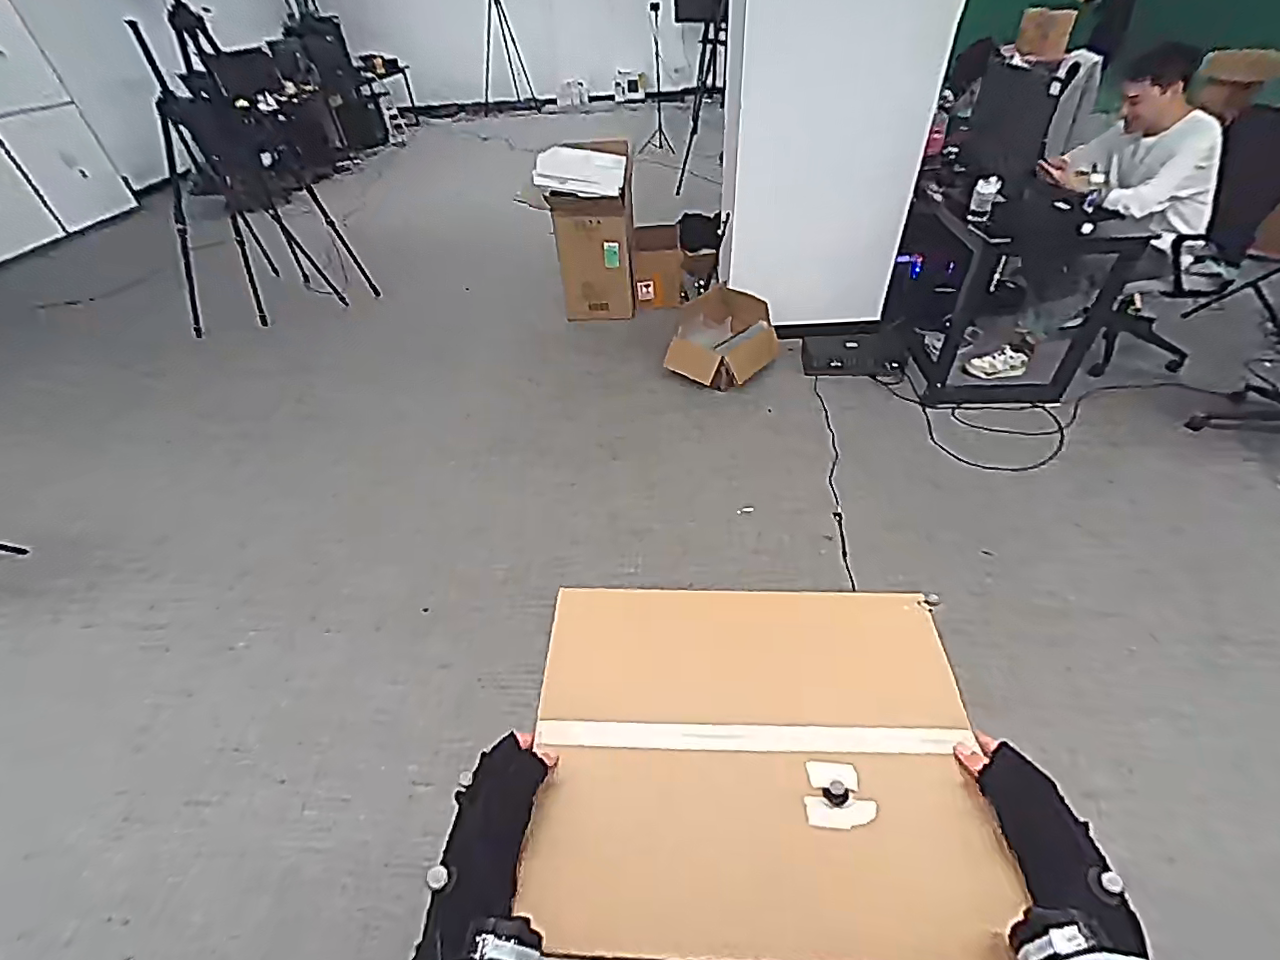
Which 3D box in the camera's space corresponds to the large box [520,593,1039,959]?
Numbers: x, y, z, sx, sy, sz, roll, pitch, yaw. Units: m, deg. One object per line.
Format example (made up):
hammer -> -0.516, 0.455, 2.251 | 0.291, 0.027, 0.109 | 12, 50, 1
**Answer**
large box -> 0.109, 0.343, 0.618 | 0.408, 0.320, 0.320 | 0, 48, 3
